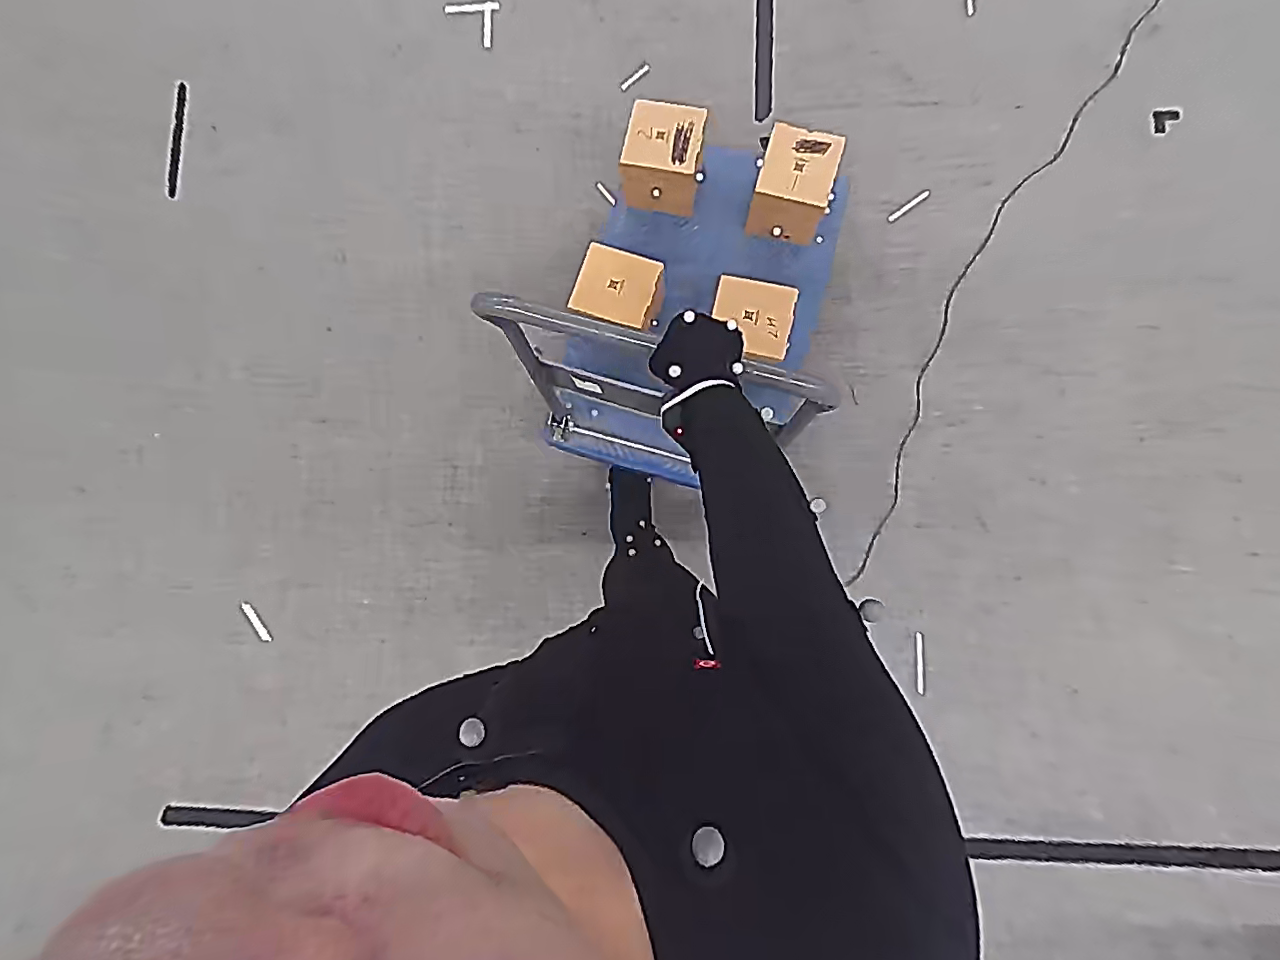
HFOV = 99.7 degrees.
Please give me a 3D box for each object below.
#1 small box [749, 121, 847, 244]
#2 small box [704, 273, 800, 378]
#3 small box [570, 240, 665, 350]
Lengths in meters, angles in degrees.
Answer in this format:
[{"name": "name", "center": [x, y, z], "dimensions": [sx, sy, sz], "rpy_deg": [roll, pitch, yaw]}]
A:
[{"name": "small box", "center": [0.368, -0.702, 1.290], "dimensions": [0.168, 0.176, 0.179], "rpy_deg": [17, 86, 6]}, {"name": "small box", "center": [0.251, -0.350, 1.256], "dimensions": [0.179, 0.176, 0.168], "rpy_deg": [13, 84, 5]}, {"name": "small box", "center": [-0.047, -0.430, 1.286], "dimensions": [0.179, 0.176, 0.168], "rpy_deg": [19, 84, 4]}]
